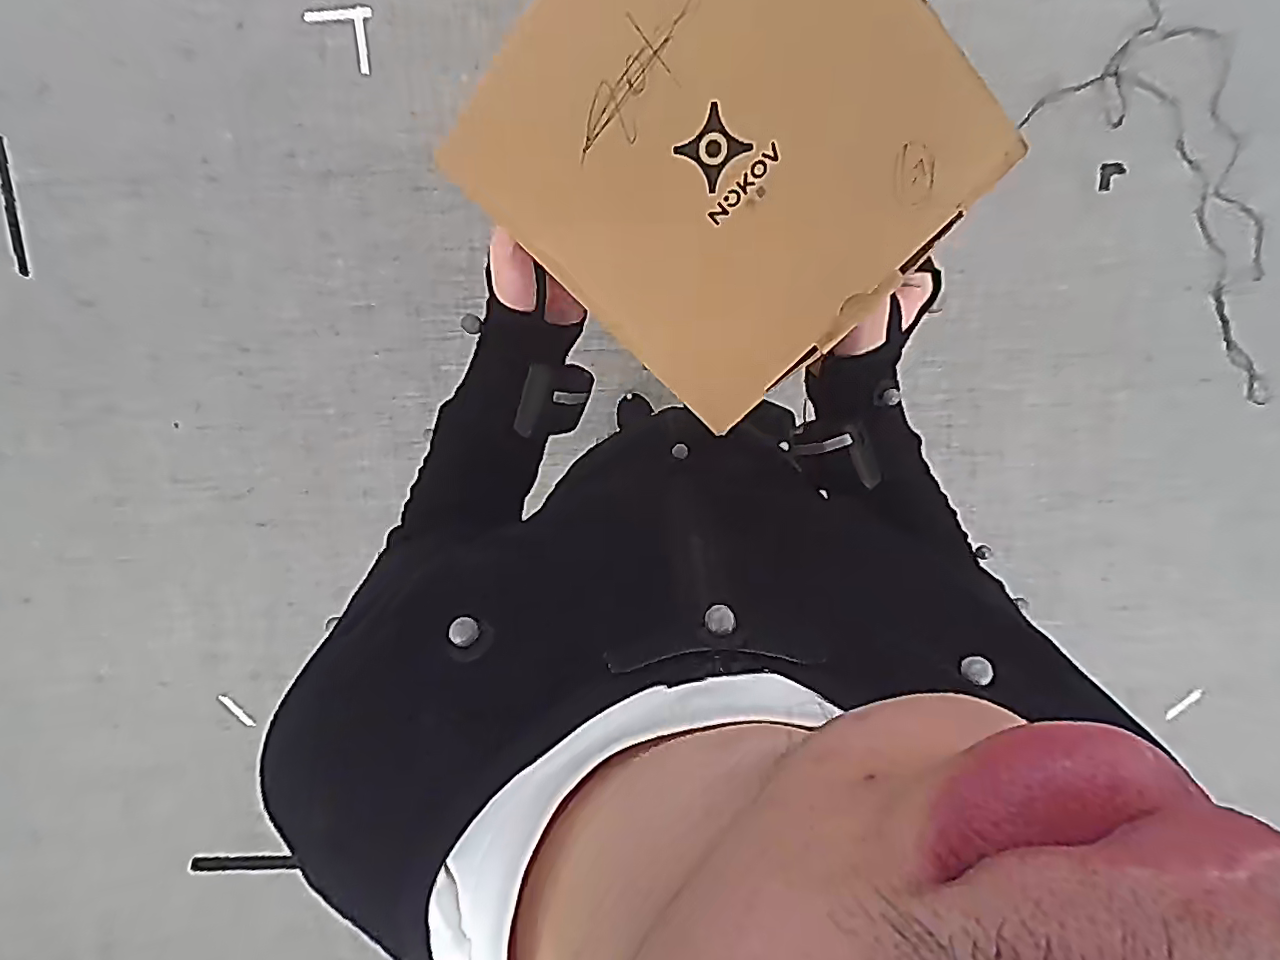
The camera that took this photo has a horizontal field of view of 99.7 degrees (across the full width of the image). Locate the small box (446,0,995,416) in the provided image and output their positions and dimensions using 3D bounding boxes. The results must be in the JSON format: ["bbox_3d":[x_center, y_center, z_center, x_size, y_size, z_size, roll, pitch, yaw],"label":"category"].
[{"bbox_3d":[0.037,-0.169,0.302,0.179,0.176,0.168,42,110,-11],"label":"small box"}]
